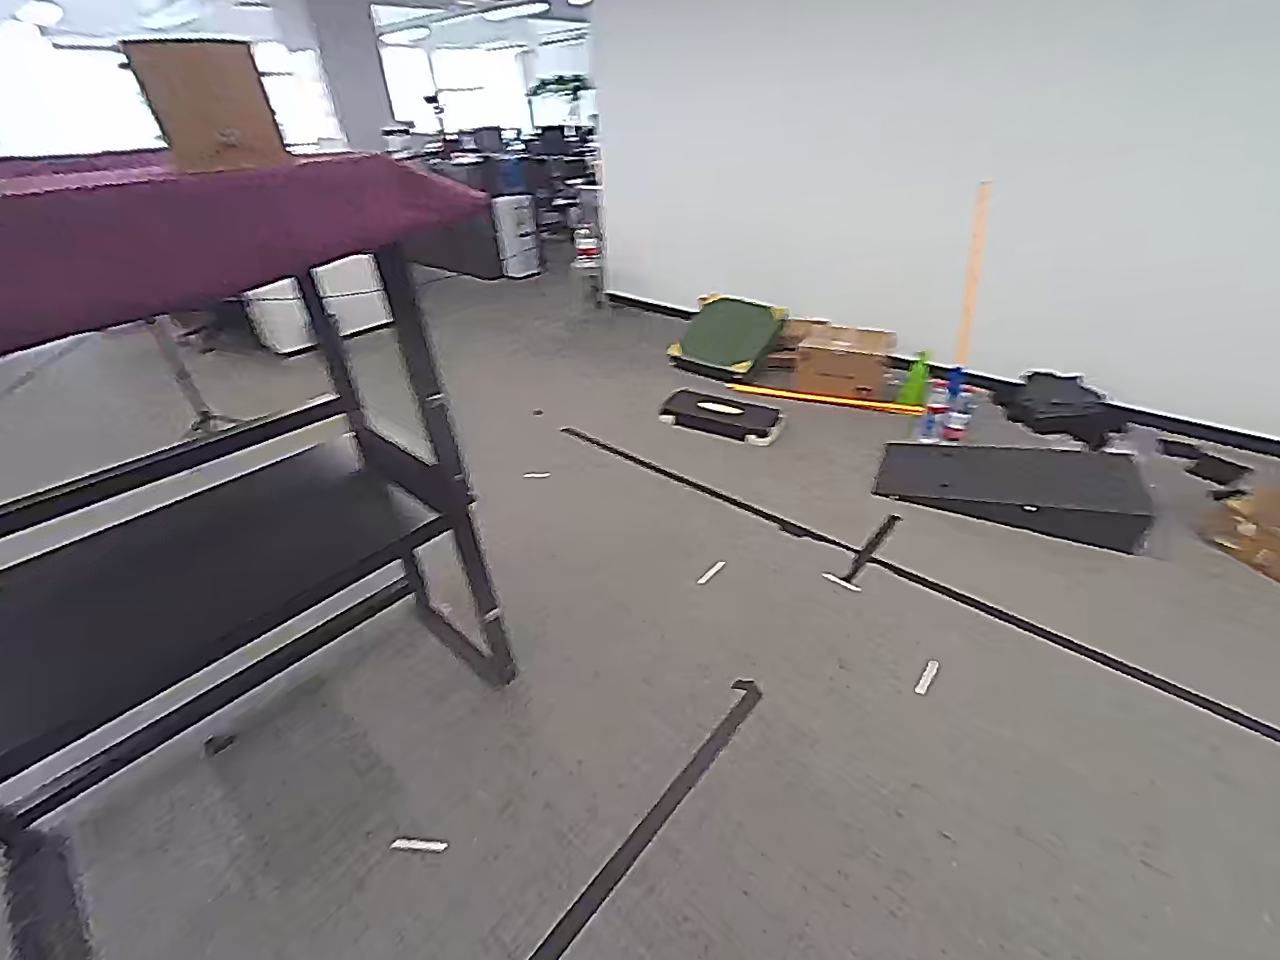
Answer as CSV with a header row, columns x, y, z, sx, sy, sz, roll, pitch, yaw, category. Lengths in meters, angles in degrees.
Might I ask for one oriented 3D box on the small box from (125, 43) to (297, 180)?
x,y,z,sx,sy,sz,roll,pitch,yaw,category
-0.694,-0.602,0.891,0.179,0.176,0.168,-26,40,-29,small box
